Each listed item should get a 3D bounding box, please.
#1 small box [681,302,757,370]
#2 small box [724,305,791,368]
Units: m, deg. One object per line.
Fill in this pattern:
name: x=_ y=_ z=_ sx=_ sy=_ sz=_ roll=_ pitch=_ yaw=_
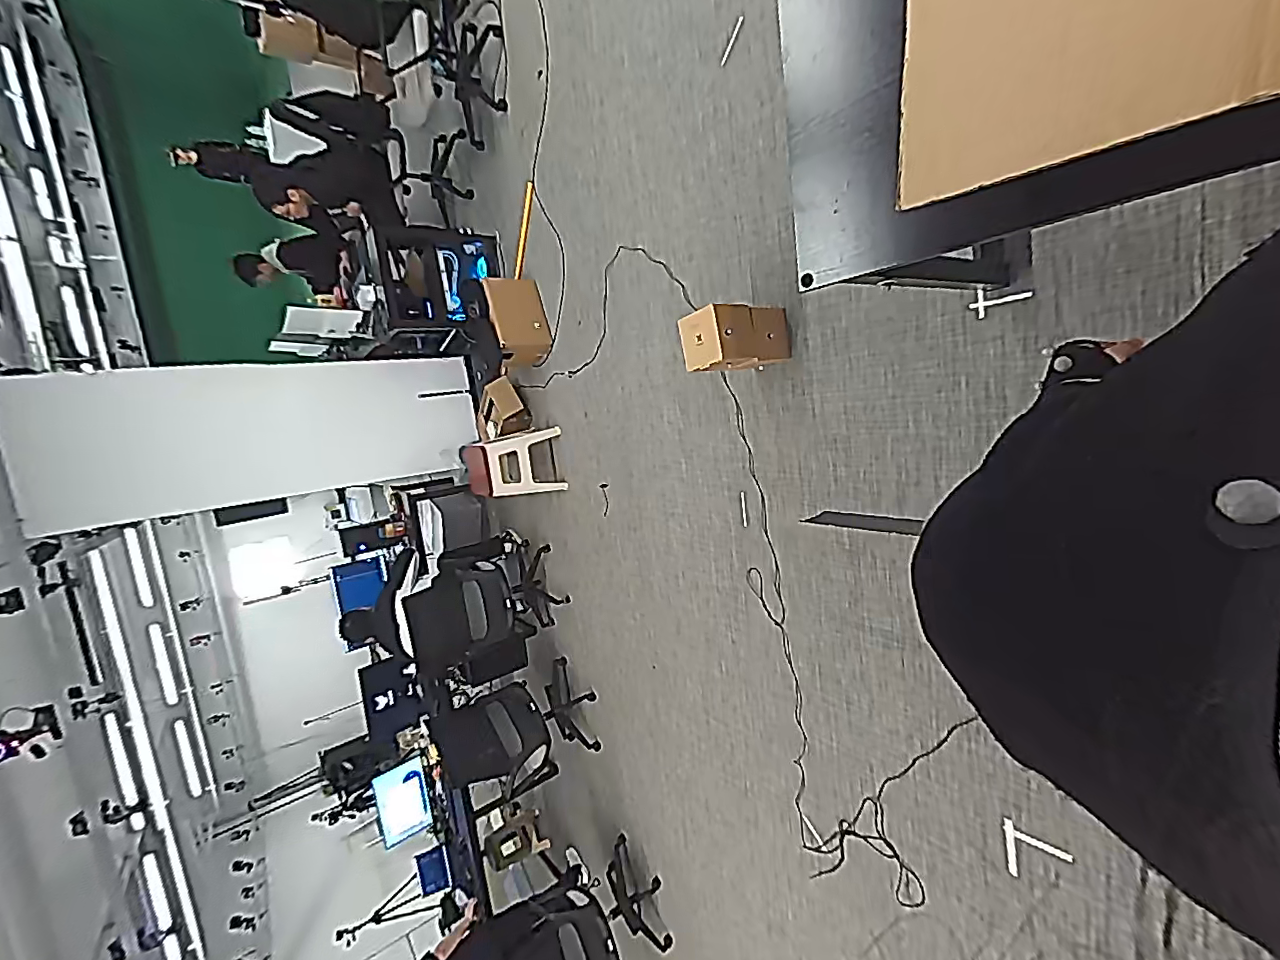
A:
small box: x=0.257 y=-0.461 z=1.737 sx=0.168 sy=0.176 sz=0.179 roll=-8 pitch=92 yaw=54
small box: x=0.388 y=-0.483 z=1.830 sx=0.168 sy=0.176 sz=0.179 roll=-2 pitch=99 yaw=54
